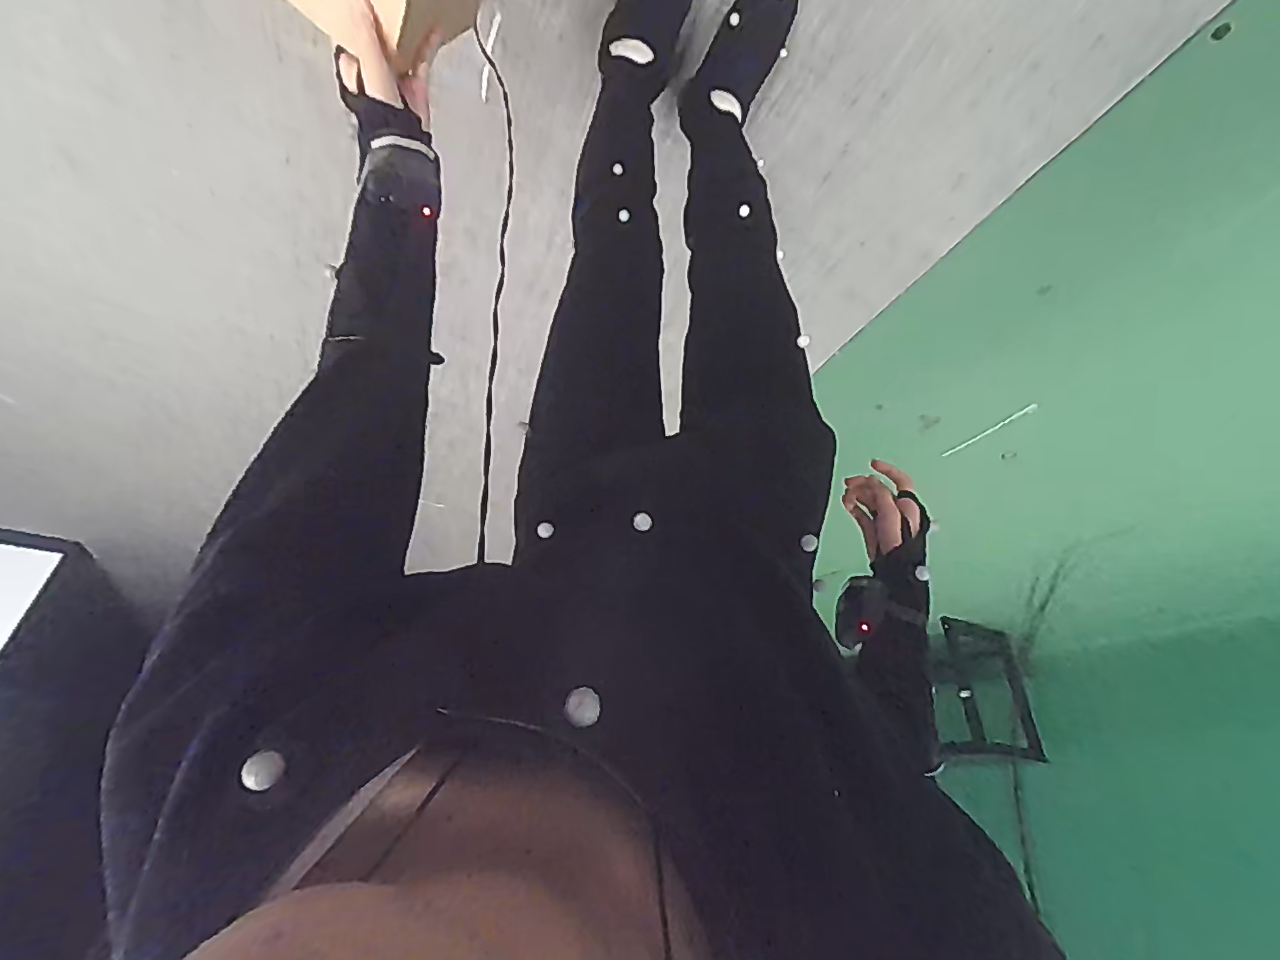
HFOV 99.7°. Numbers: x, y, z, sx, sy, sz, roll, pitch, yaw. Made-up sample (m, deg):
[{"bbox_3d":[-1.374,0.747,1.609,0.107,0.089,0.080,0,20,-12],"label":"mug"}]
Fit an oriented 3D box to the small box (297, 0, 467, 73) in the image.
[{"bbox_3d":[-0.229,-0.508,0.454,0.179,0.176,0.168,37,141,-22],"label":"small box"}]
